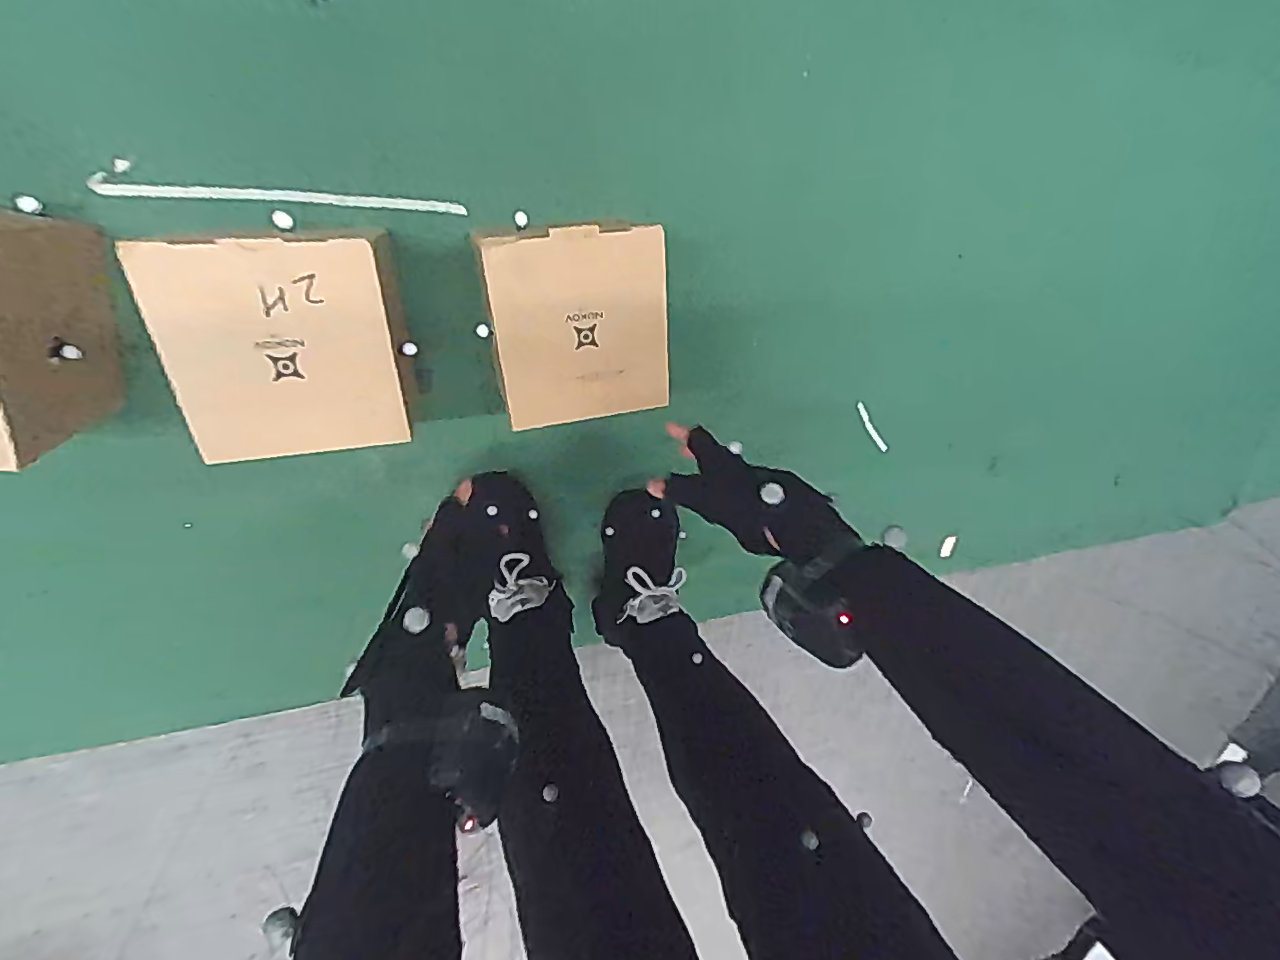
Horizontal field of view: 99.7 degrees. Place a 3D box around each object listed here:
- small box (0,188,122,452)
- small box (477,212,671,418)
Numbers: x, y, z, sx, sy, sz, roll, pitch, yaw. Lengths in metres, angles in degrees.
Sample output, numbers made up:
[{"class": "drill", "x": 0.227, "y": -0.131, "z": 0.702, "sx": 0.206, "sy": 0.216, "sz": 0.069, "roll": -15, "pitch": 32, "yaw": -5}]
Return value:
[{"class": "small box", "x": -0.552, "y": -0.140, "z": 0.417, "sx": 0.168, "sy": 0.176, "sz": 0.179, "roll": 5, "pitch": 115, "yaw": -21}, {"class": "small box", "x": -0.073, "y": -0.183, "z": 0.571, "sx": 0.168, "sy": 0.176, "sz": 0.179, "roll": -10, "pitch": 119, "yaw": -15}]
